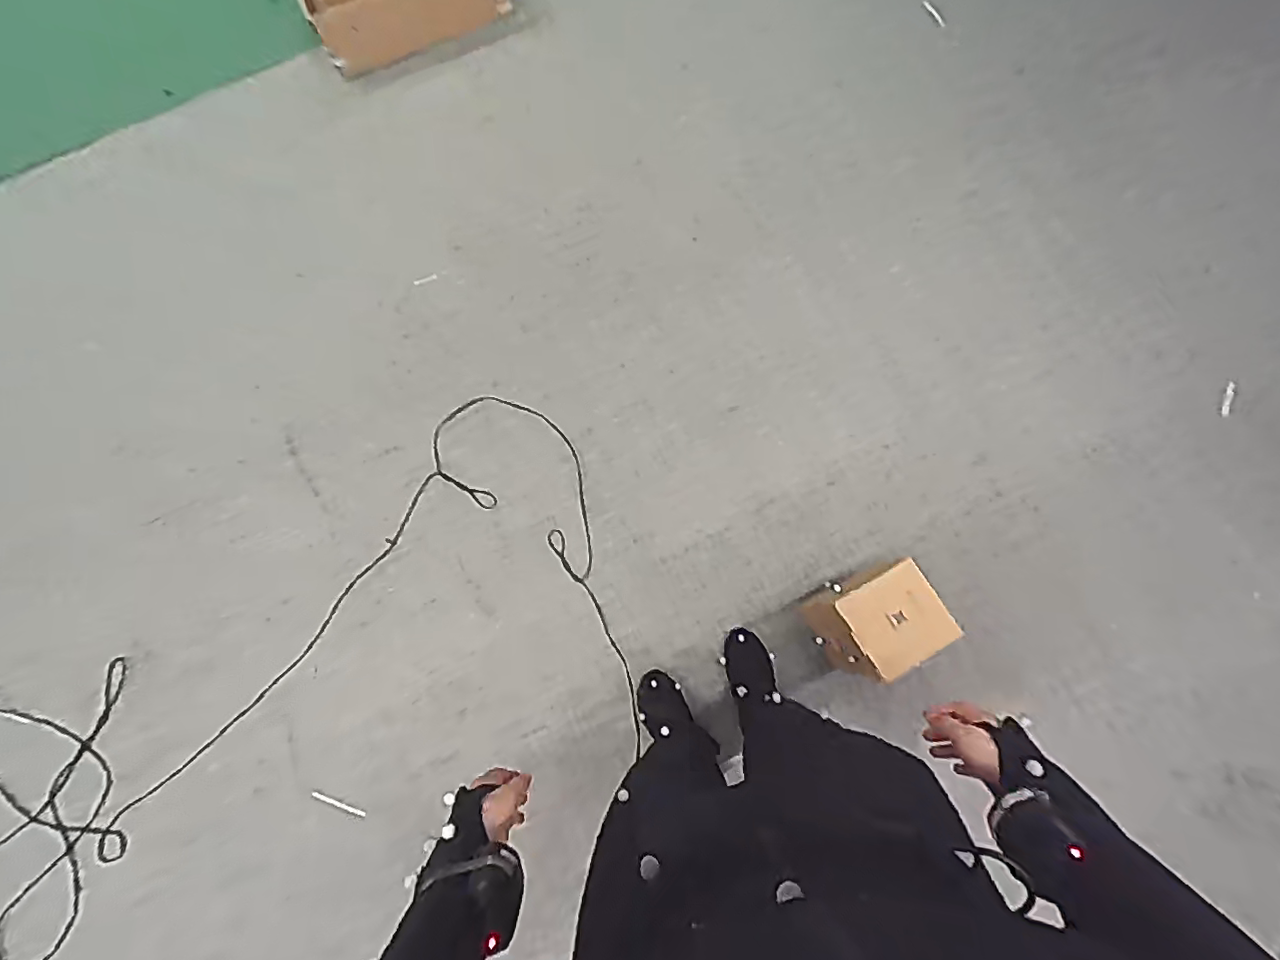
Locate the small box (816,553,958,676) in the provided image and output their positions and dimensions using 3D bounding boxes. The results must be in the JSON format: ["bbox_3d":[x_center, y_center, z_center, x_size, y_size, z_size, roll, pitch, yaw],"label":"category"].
[{"bbox_3d":[0.476,0.265,1.082,0.179,0.176,0.168,-30,79,-5],"label":"small box"}]

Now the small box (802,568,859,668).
[{"bbox_3d":[0.491,0.309,1.239,0.179,0.176,0.168,-28,78,-3],"label":"small box"}]
